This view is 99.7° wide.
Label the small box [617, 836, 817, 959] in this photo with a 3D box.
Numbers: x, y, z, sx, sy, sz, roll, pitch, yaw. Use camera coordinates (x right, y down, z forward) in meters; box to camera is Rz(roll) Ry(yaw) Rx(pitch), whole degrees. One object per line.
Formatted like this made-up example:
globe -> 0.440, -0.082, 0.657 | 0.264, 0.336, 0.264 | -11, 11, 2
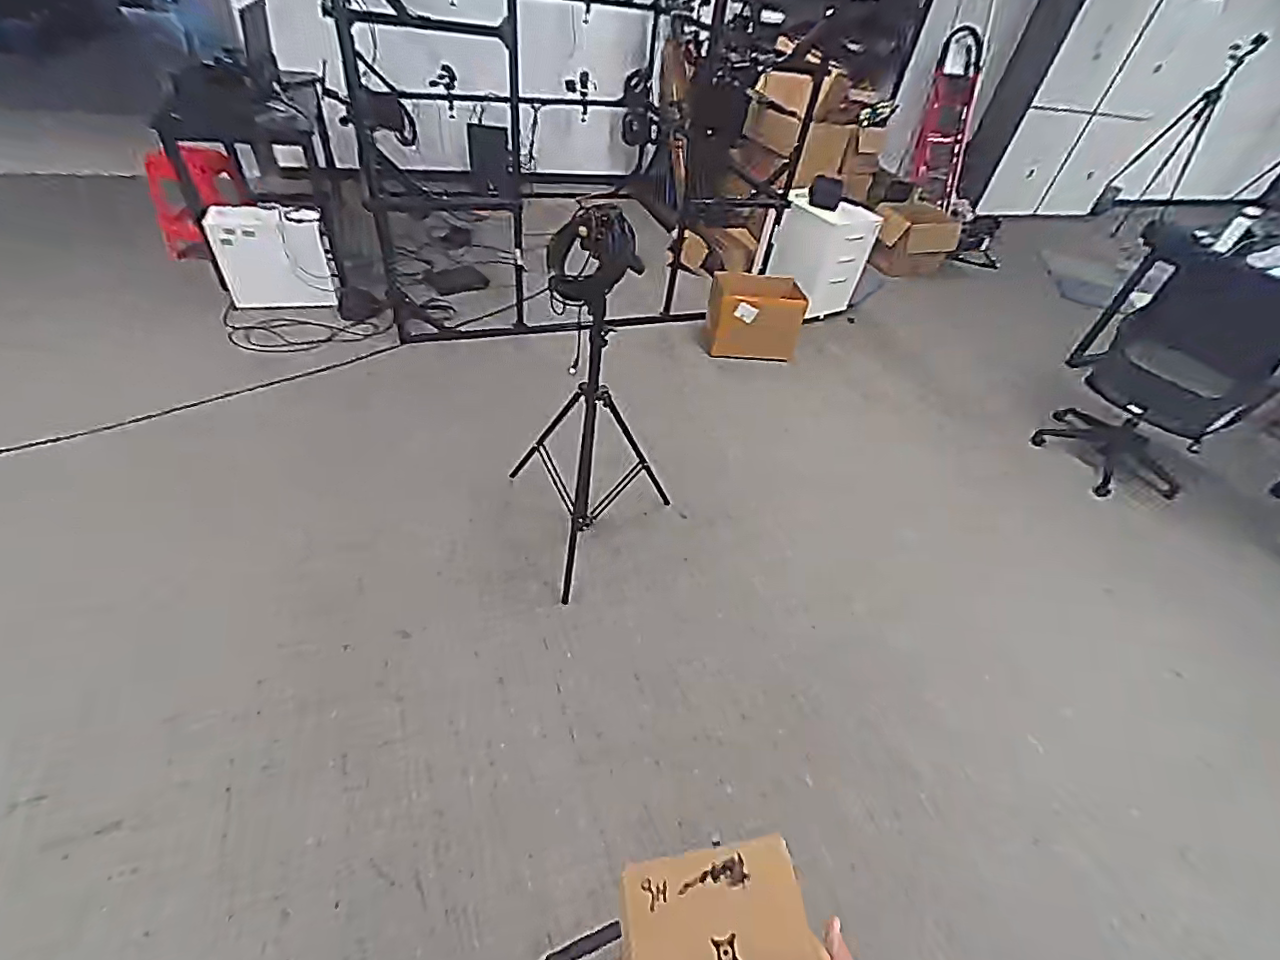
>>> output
small box -> 0.070, 0.476, 0.532 | 0.168, 0.176, 0.179 | -5, 50, -10
